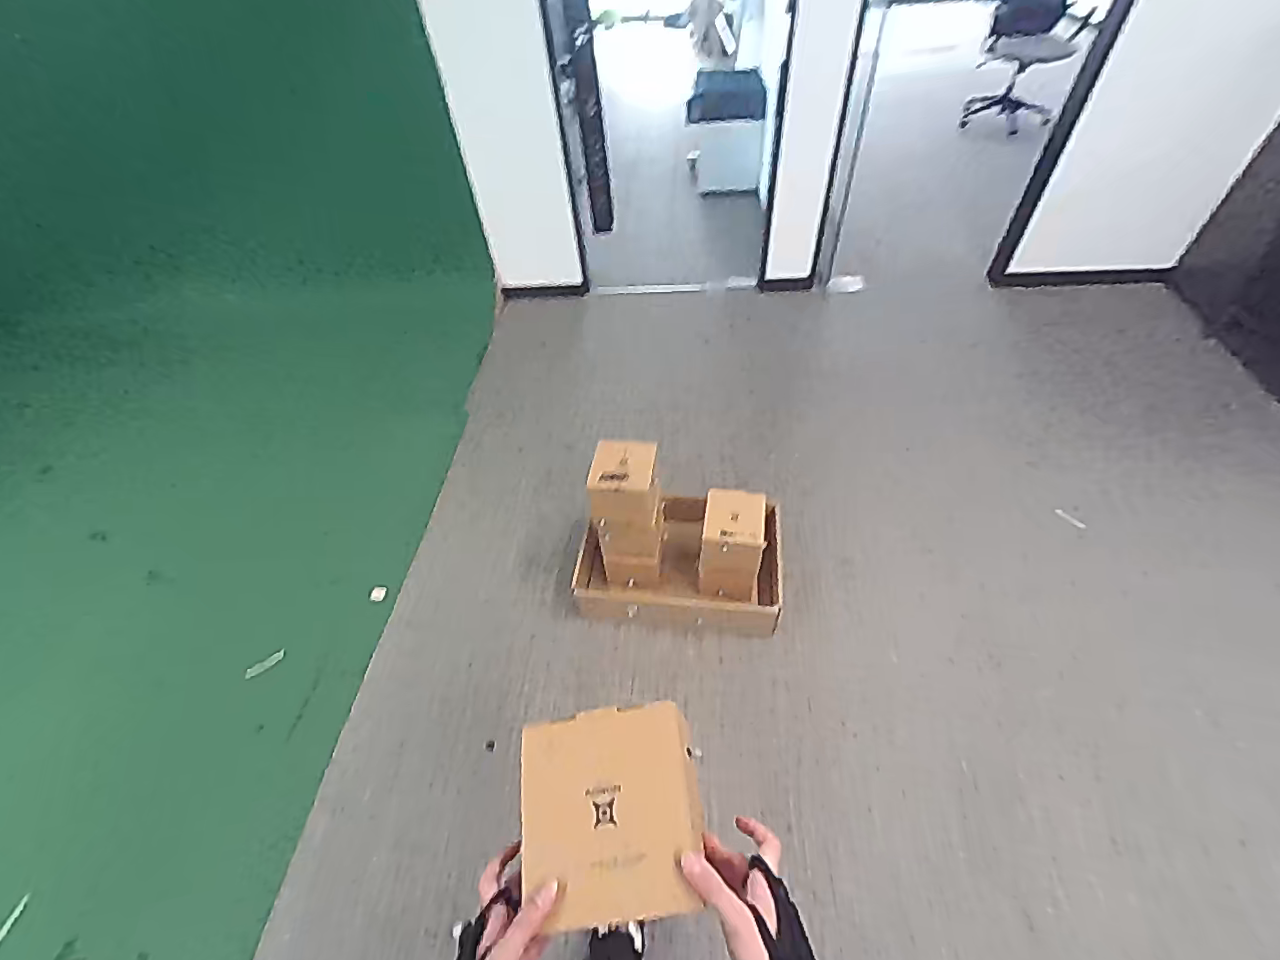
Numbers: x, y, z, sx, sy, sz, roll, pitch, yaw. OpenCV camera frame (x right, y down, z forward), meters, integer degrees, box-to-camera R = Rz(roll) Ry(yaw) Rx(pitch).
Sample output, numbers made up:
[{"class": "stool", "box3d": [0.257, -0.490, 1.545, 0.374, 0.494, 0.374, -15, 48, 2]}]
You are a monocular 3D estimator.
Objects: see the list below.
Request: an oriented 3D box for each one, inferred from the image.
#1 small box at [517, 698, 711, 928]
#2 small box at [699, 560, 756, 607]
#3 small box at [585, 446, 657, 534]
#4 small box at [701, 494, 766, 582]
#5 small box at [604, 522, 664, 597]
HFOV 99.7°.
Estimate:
[{"class": "small box", "box3d": [-0.022, 0.354, 0.581, 0.168, 0.176, 0.179, -11, 55, 5]}, {"class": "small box", "box3d": [0.272, 0.272, 1.682, 0.168, 0.176, 0.179, 4, 50, 9]}, {"class": "small box", "box3d": [-0.044, 0.030, 1.485, 0.168, 0.176, 0.179, 4, 47, 8]}, {"class": "small box", "box3d": [0.268, 0.167, 1.556, 0.168, 0.176, 0.179, 5, 49, 10]}, {"class": "small box", "box3d": [-0.014, 0.249, 1.728, 0.168, 0.176, 0.179, 4, 48, 8]}]
